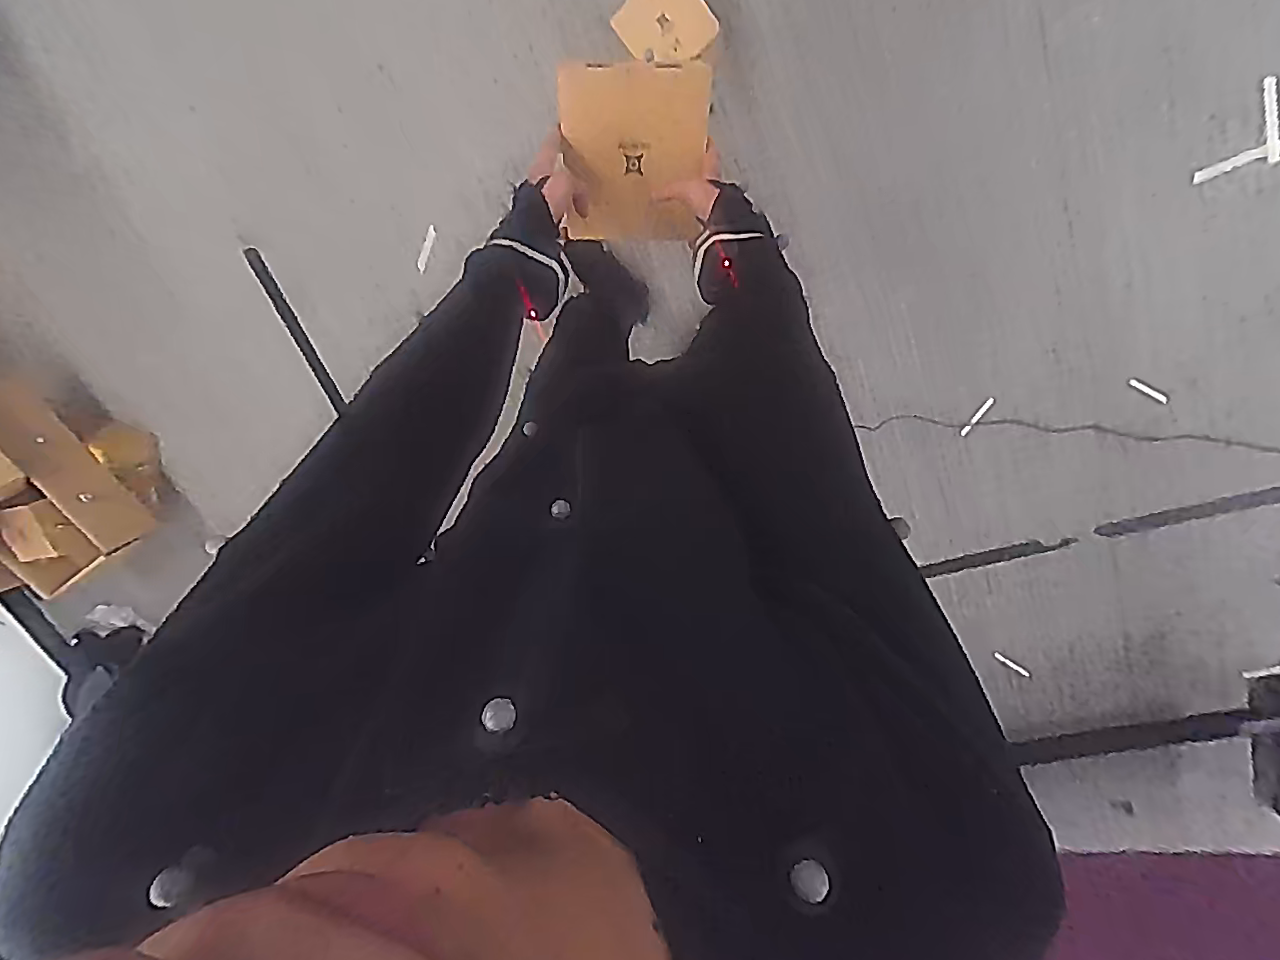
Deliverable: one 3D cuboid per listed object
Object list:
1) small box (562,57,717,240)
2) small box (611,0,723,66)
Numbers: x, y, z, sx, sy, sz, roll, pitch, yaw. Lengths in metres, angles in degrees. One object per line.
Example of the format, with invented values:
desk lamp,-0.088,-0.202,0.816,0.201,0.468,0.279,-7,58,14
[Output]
small box,0.002,-0.416,0.676,0.168,0.176,0.179,2,127,2
small box,0.065,-0.966,1.183,0.168,0.176,0.179,-37,102,21
